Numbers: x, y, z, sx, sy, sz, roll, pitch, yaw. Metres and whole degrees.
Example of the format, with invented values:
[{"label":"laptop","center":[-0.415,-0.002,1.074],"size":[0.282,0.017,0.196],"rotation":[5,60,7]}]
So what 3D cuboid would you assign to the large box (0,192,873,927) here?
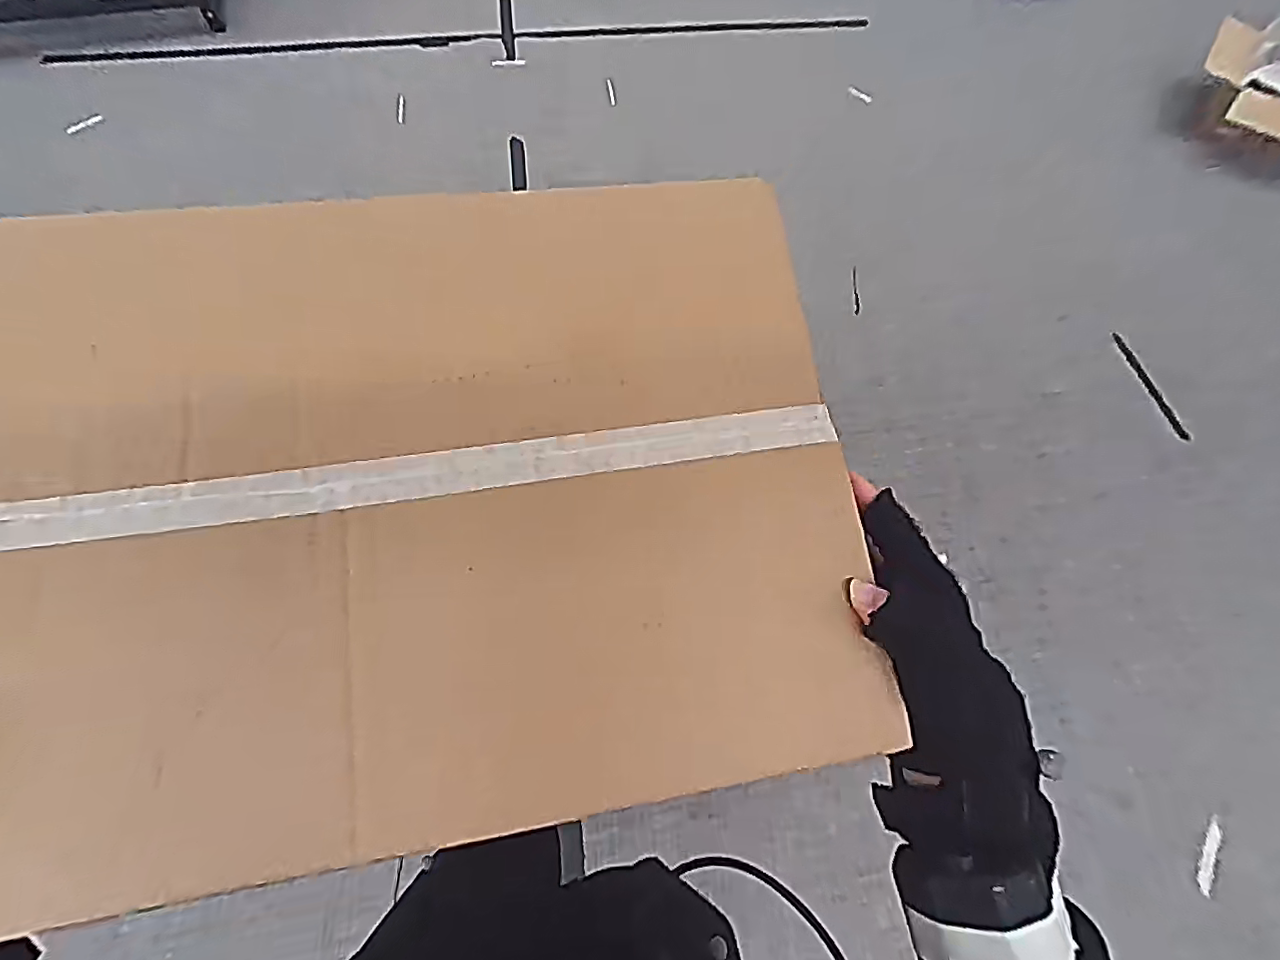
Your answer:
[{"label":"large box","center":[-0.117,0.036,0.410],"size":[0.408,0.320,0.320],"rotation":[-8,77,-7]}]
